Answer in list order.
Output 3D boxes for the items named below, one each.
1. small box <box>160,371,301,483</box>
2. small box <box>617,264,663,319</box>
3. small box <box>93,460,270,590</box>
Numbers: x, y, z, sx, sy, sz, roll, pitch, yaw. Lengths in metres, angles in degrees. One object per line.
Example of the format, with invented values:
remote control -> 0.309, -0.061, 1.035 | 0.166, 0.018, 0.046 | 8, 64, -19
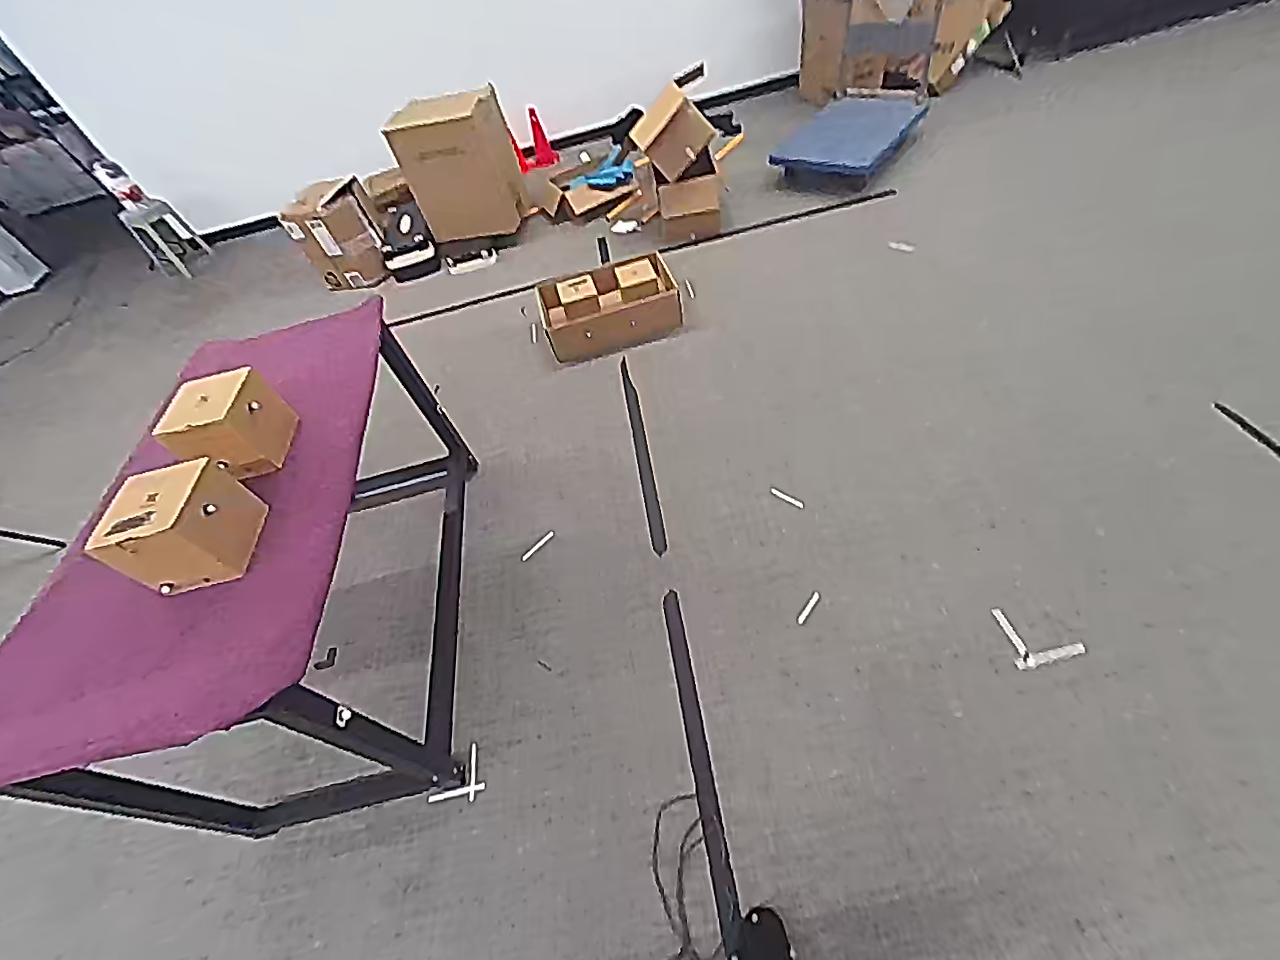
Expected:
small box -> -0.912, -0.115, 1.228 | 0.168, 0.176, 0.179 | -13, 50, 3
small box -> 0.002, -0.870, 2.519 | 0.168, 0.176, 0.179 | -16, 48, 0
small box -> -0.861, 0.094, 1.041 | 0.168, 0.176, 0.179 | -13, 49, 2
